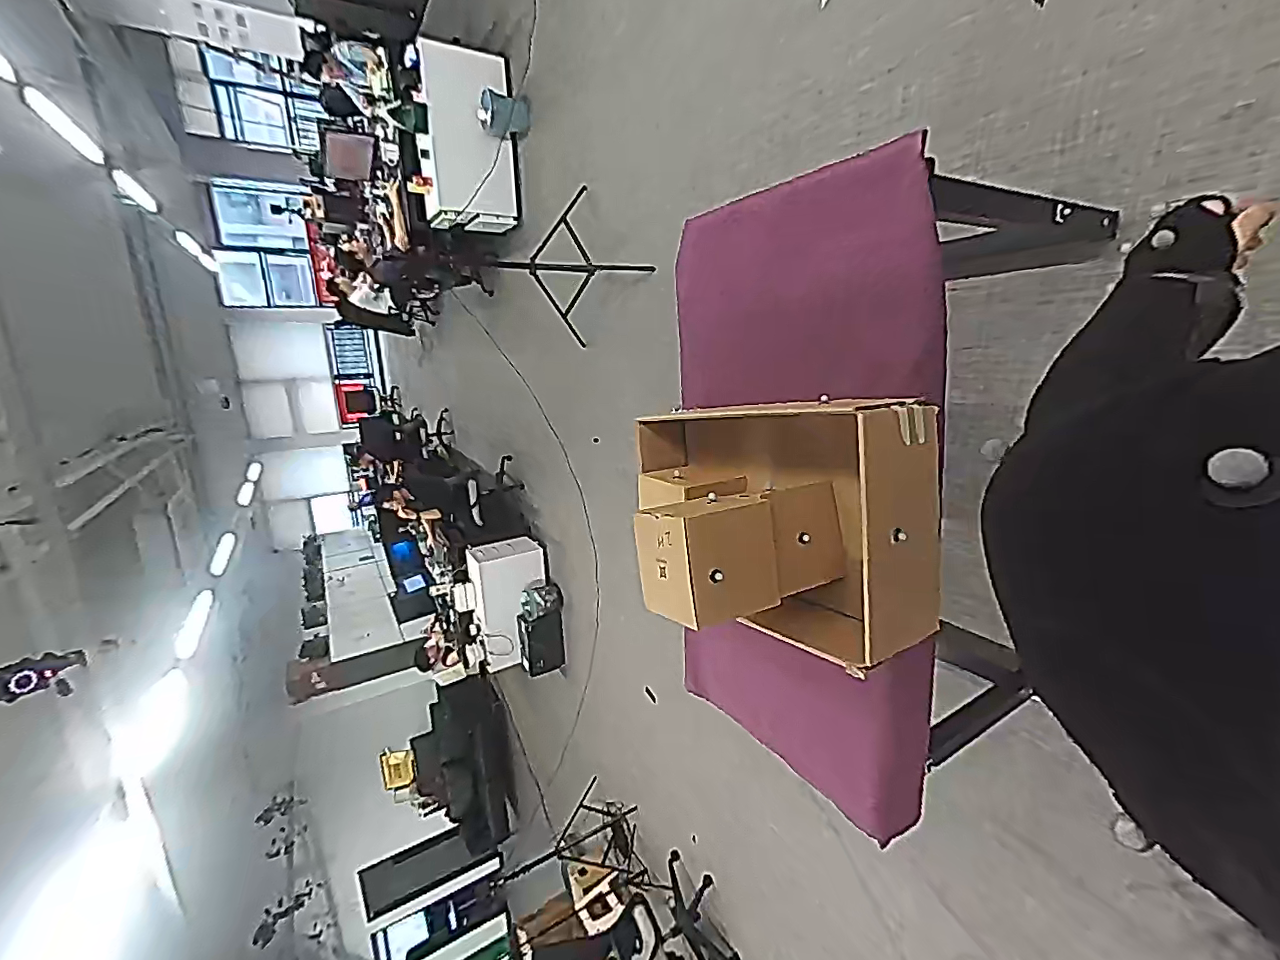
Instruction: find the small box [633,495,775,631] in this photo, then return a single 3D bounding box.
[{"bbox_3d":[0.107,0.127,0.900,0.168,0.176,0.179,1,99,62],"label":"small box"}]
